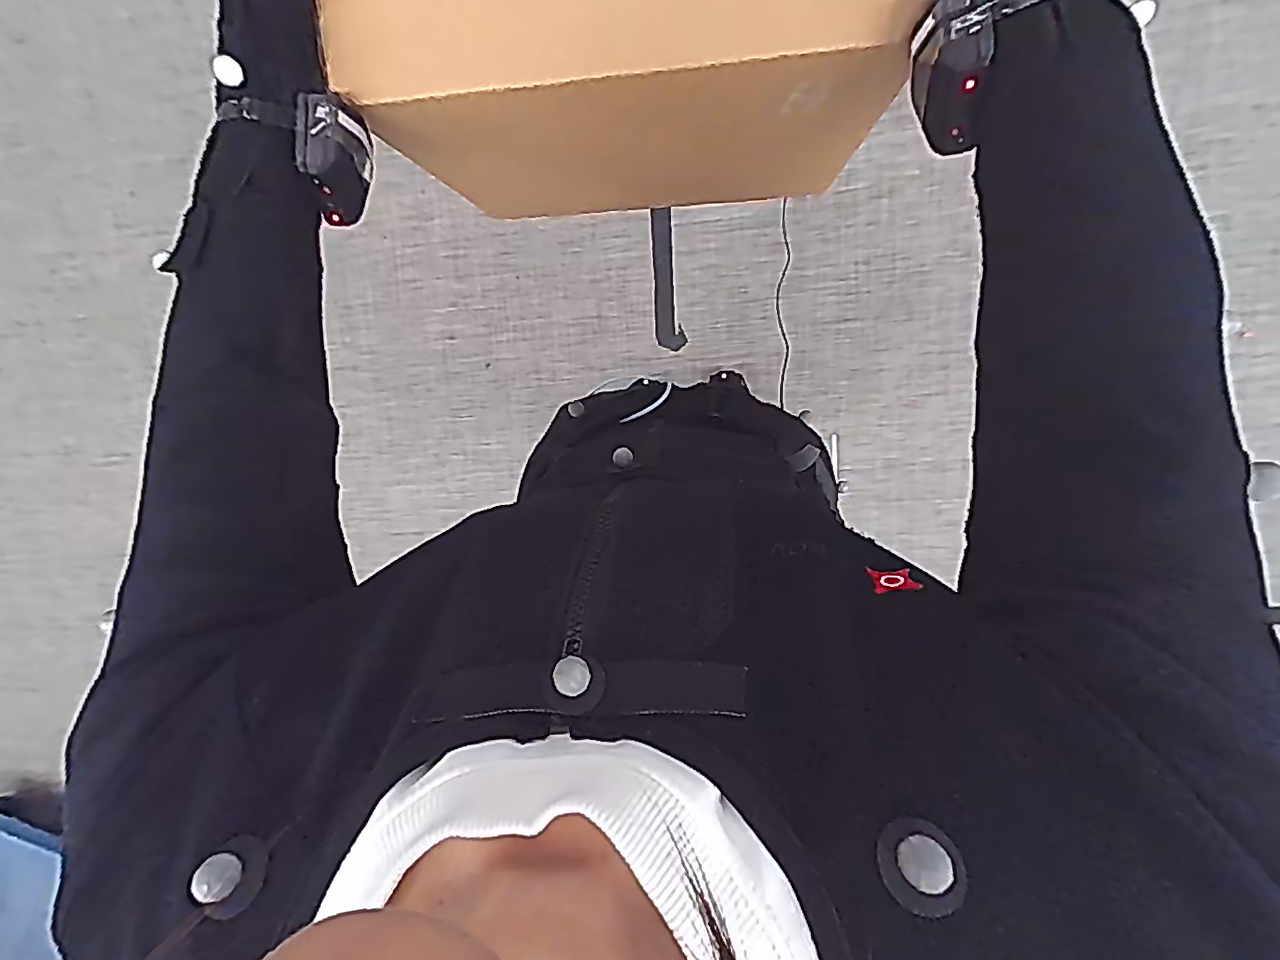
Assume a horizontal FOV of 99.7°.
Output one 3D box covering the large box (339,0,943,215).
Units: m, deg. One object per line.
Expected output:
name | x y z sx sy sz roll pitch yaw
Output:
large box | -0.003 -0.455 0.478 0.408 0.320 0.320 -2 102 6
